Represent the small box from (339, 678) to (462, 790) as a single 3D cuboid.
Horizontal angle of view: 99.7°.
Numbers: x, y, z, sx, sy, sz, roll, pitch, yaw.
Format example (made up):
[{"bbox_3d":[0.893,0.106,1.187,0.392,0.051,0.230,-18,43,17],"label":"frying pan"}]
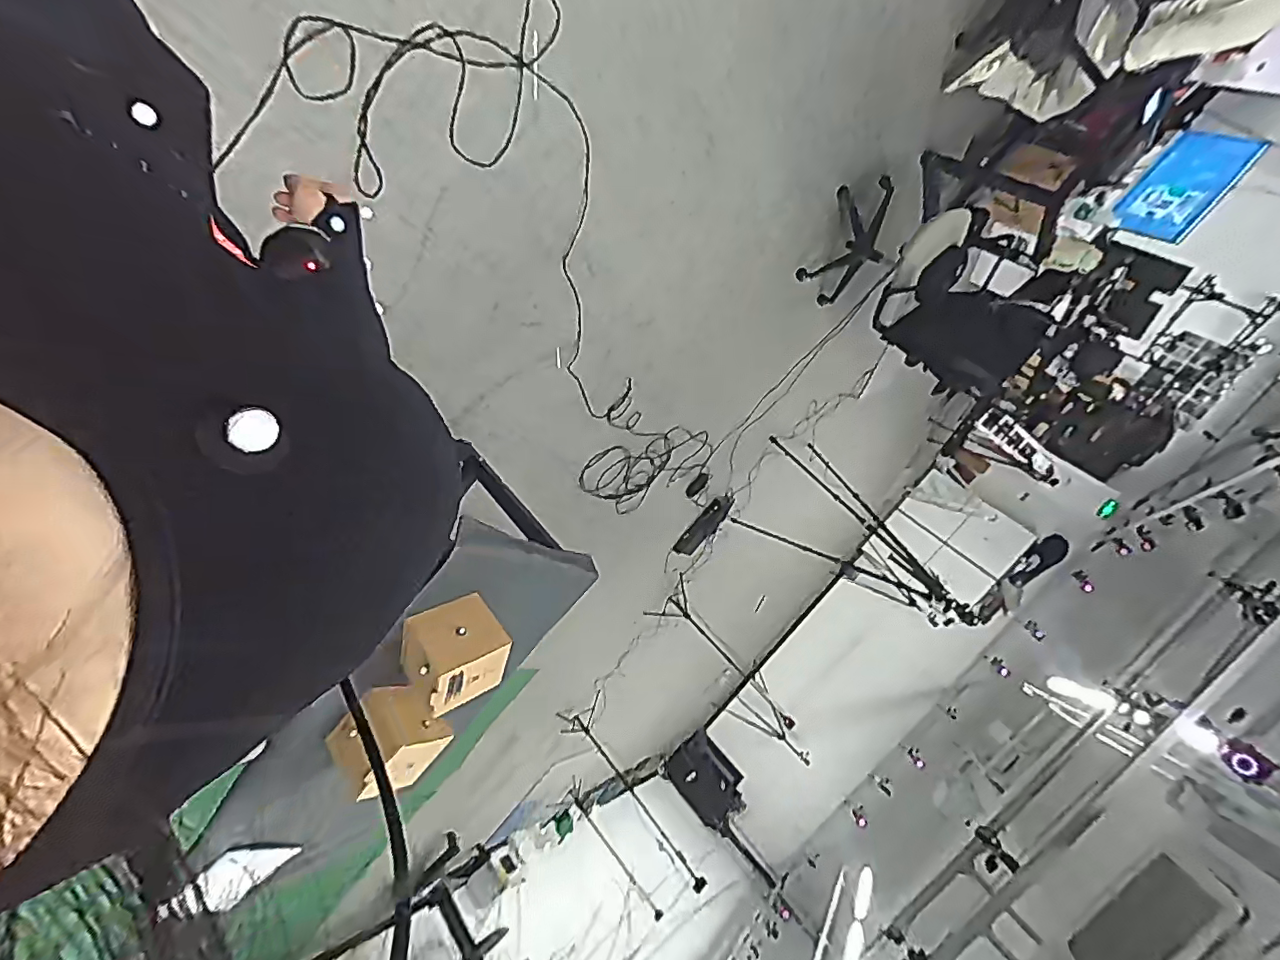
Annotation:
[{"bbox_3d":[-0.573,0.595,1.294,0.168,0.176,0.179,-50,151,3],"label":"small box"}]
